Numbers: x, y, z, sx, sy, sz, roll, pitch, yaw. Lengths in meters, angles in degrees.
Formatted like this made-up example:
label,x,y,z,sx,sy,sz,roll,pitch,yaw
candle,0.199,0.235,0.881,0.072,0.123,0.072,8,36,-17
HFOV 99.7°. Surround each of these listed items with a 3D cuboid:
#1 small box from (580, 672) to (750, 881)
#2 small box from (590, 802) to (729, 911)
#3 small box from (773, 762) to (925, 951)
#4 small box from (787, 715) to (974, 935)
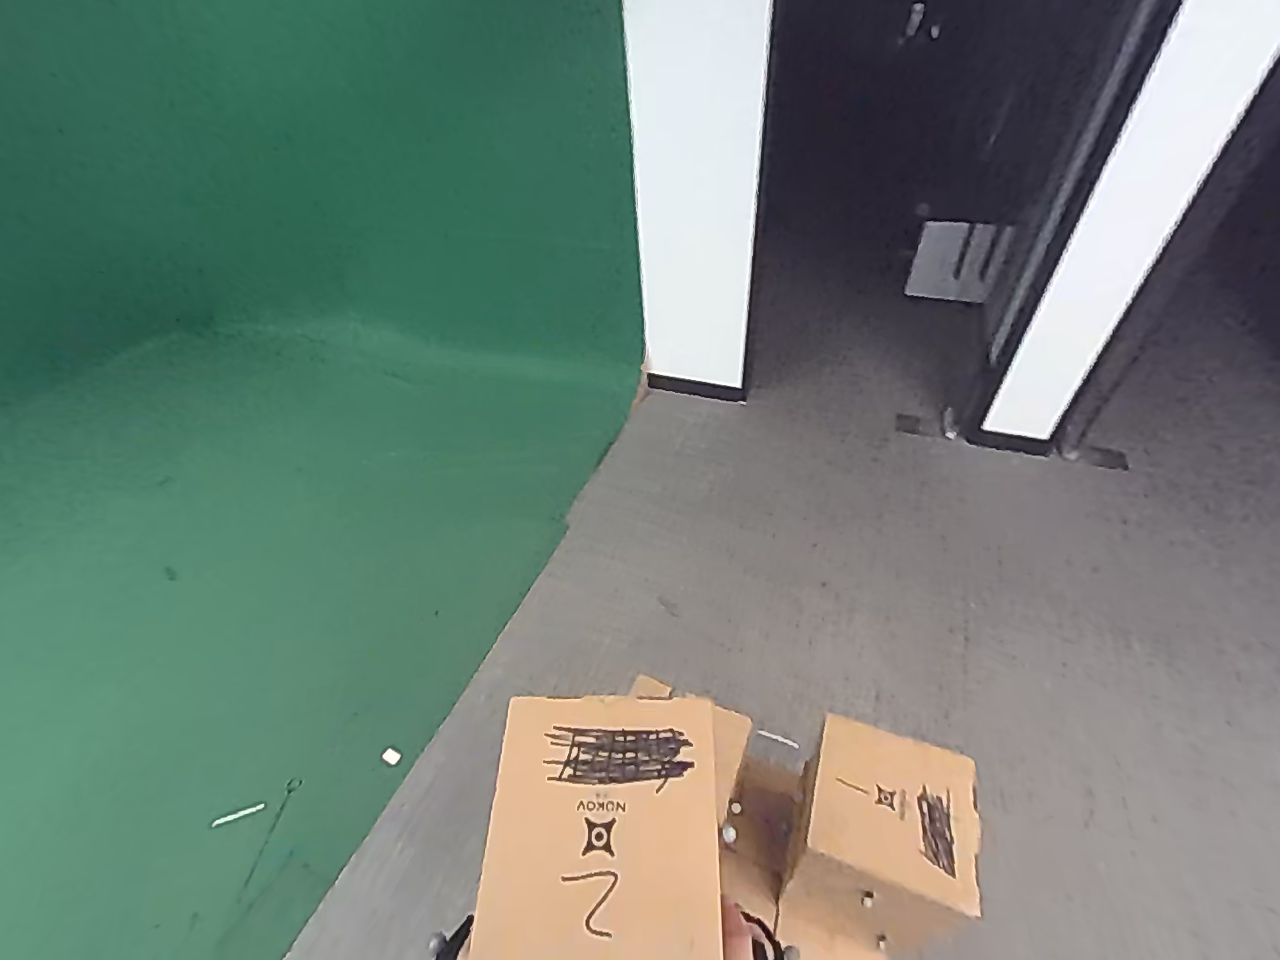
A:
label,x,y,z,sx,sy,sz,roll,pitch,yaw
small box,0.039,0.405,0.737,0.168,0.176,0.179,18,48,19
small box,0.041,0.531,0.844,0.168,0.176,0.179,16,48,18
small box,0.306,0.556,0.799,0.179,0.176,0.168,12,46,19
small box,0.298,0.438,0.685,0.179,0.176,0.168,13,46,20
